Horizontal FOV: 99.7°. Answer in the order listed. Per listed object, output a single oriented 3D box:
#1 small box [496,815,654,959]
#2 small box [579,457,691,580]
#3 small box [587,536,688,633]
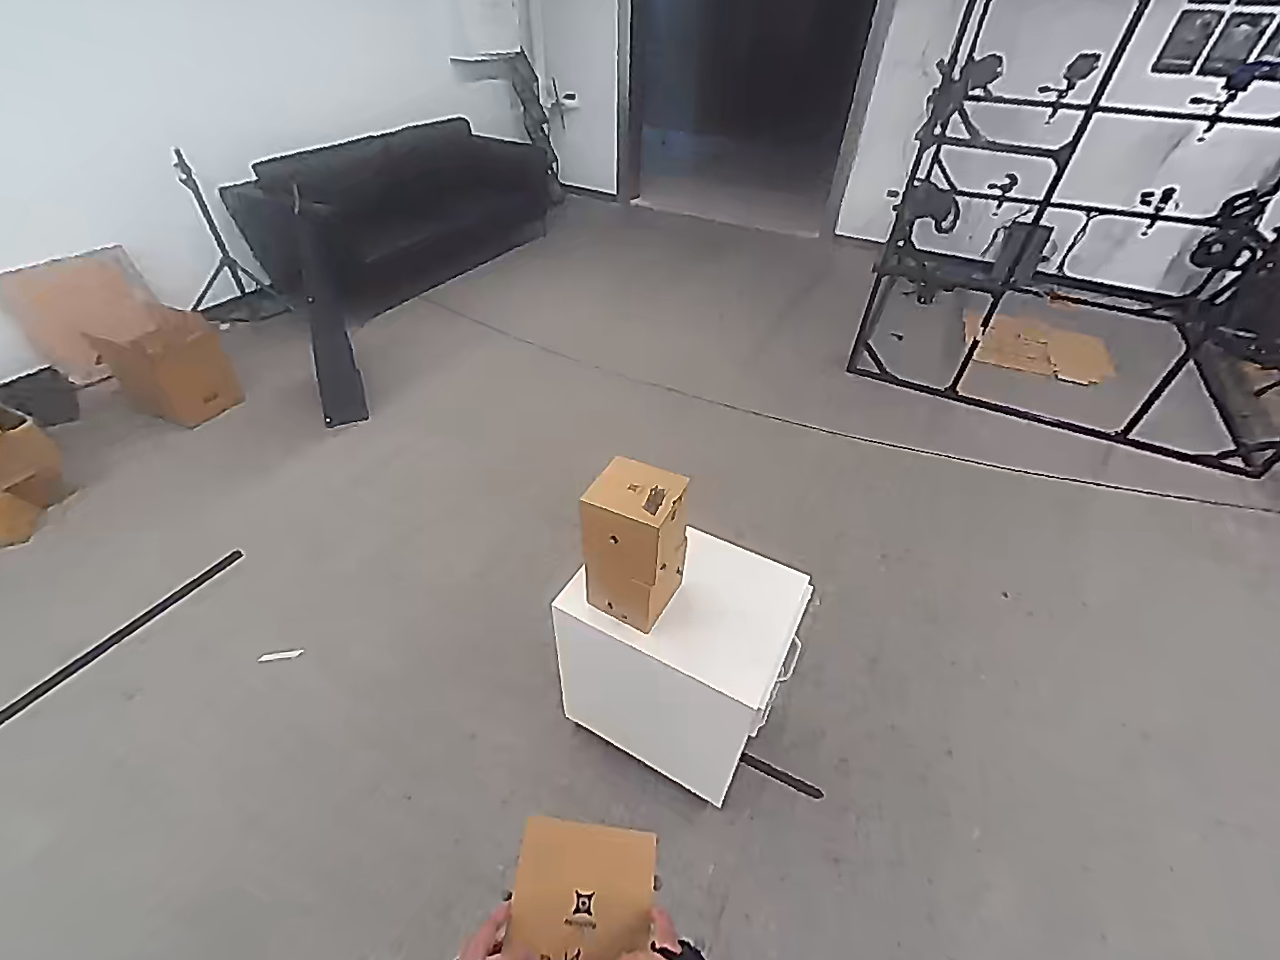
[{"bbox_3d":[-0.082,0.546,0.677,0.168,0.176,0.179,9,48,-2],"label":"small box"},{"bbox_3d":[-0.009,0.083,1.127,0.179,0.176,0.168,18,42,19],"label":"small box"},{"bbox_3d":[-0.010,0.208,1.233,0.168,0.176,0.179,22,44,21],"label":"small box"}]
